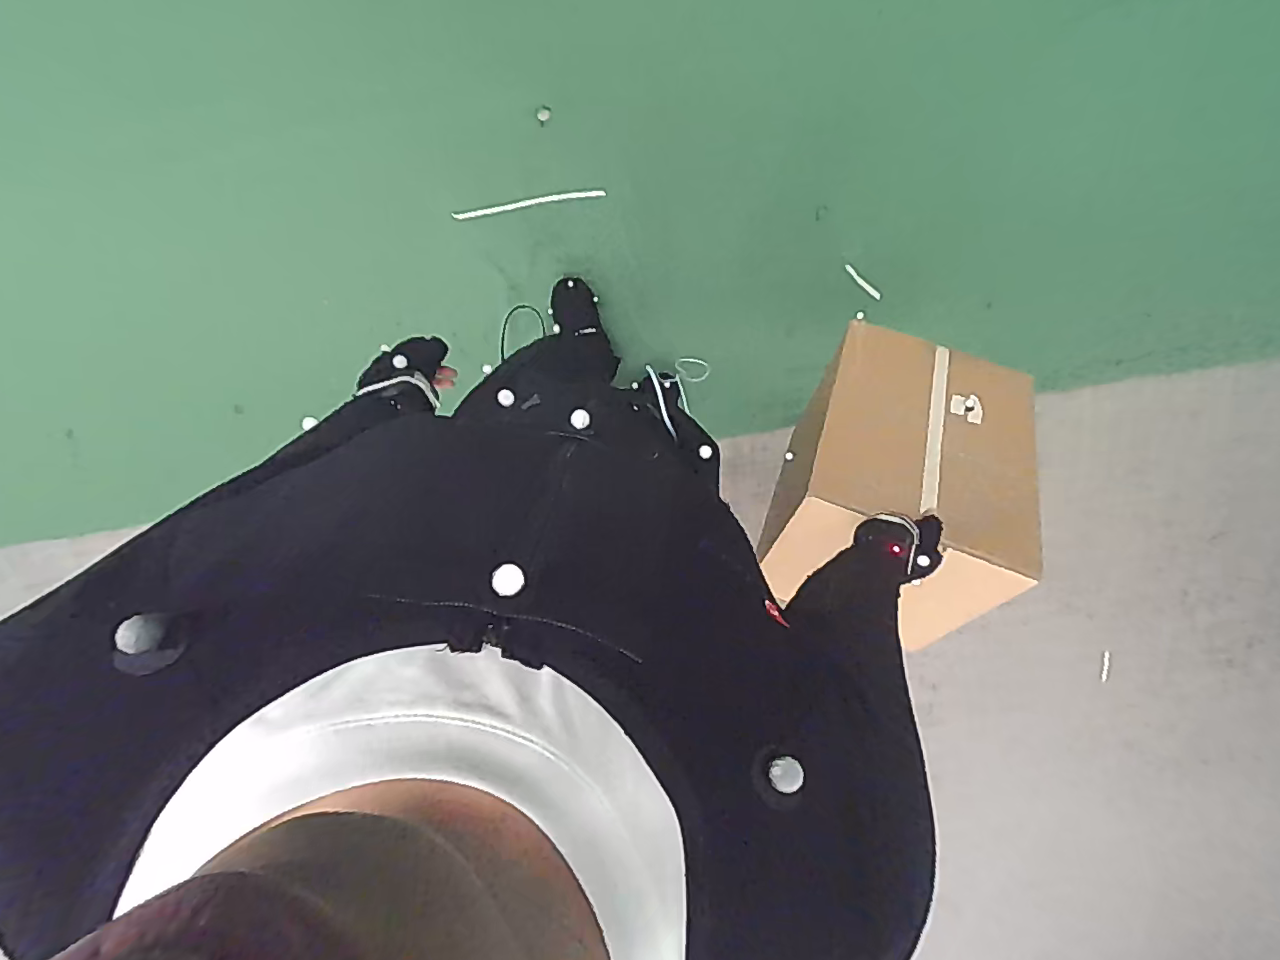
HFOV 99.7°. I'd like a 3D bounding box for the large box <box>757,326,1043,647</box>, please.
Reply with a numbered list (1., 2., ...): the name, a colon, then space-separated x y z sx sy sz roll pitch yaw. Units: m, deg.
1. large box: 0.427 0.012 0.941 0.320 0.408 0.320 21 145 7
